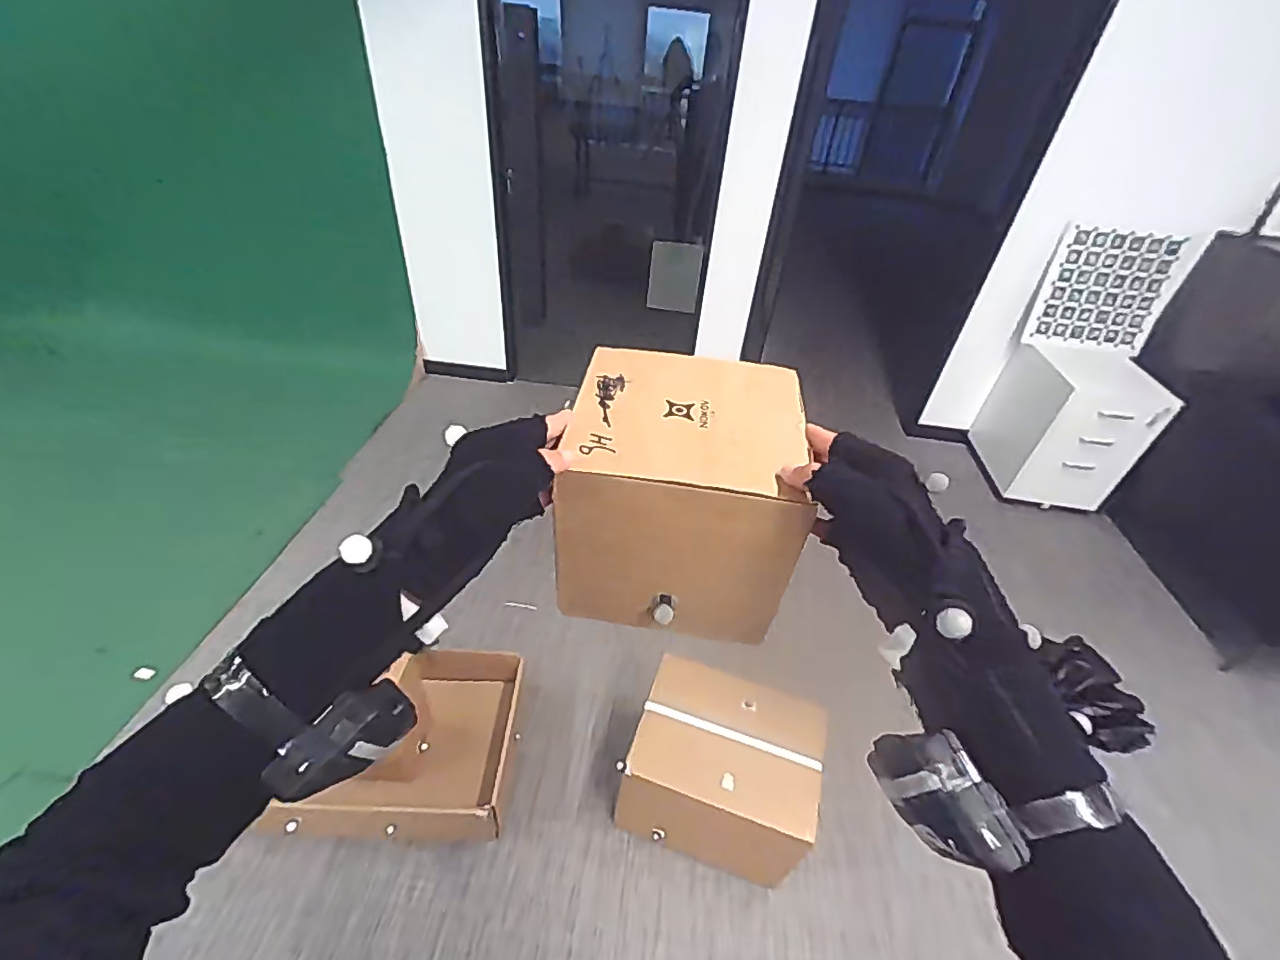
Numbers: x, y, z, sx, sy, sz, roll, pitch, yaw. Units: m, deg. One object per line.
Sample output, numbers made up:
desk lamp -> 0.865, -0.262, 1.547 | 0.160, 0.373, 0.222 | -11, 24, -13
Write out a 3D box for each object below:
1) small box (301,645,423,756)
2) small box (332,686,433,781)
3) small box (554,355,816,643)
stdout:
small box -> -0.615, 0.500, 1.221 | 0.179, 0.176, 0.168 | 8, 39, -1
small box -> -0.631, 0.620, 1.333 | 0.179, 0.176, 0.168 | 6, 39, -3
small box -> 0.032, 0.018, 0.463 | 0.179, 0.176, 0.168 | 9, 41, 2
